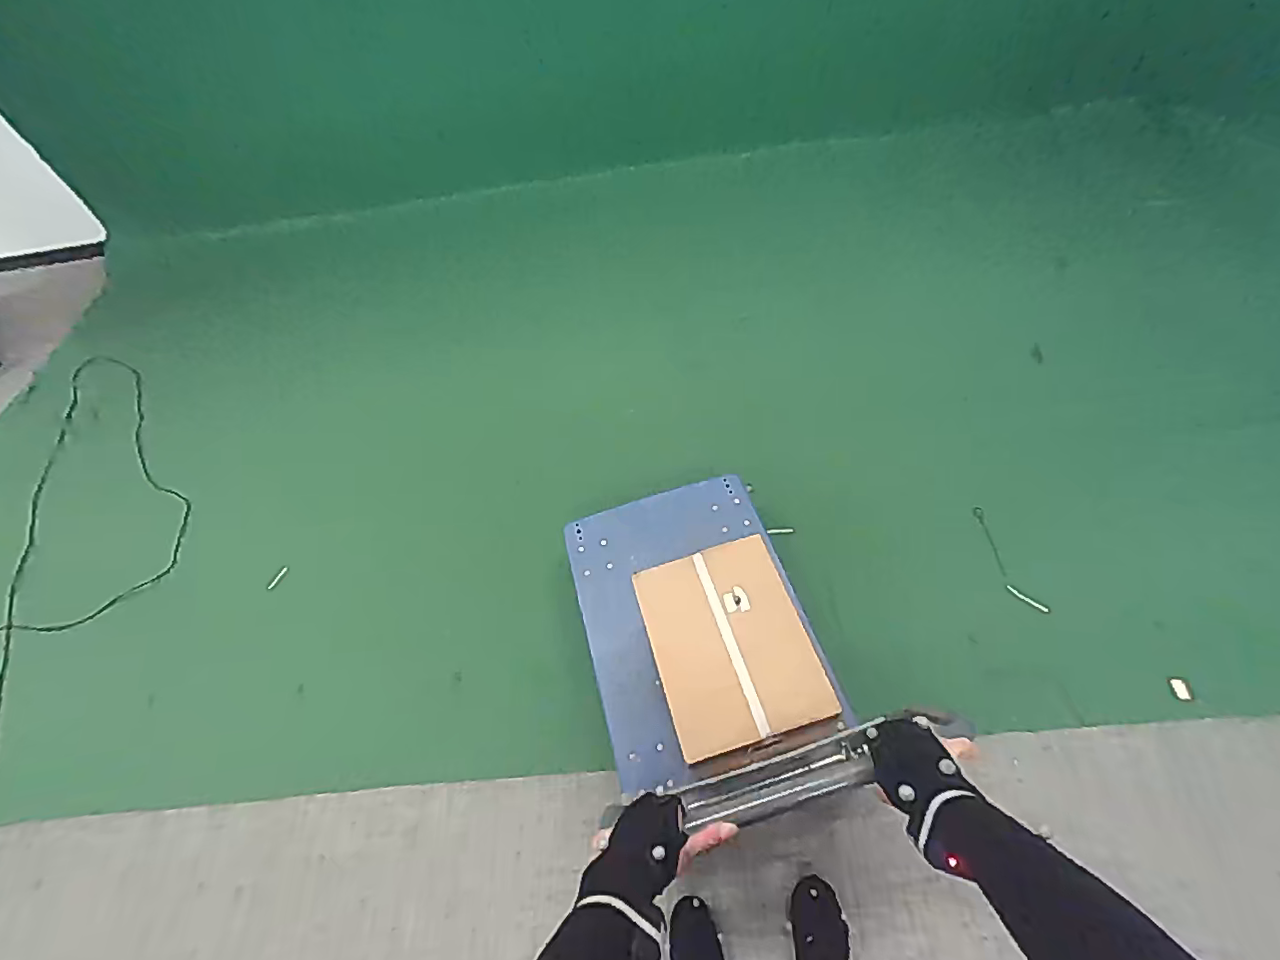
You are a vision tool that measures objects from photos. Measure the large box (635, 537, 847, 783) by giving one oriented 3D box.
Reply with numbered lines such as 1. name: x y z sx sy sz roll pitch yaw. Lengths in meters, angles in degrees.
1. large box: 0.209 0.409 1.227 0.320 0.320 0.408 -17 54 -3
